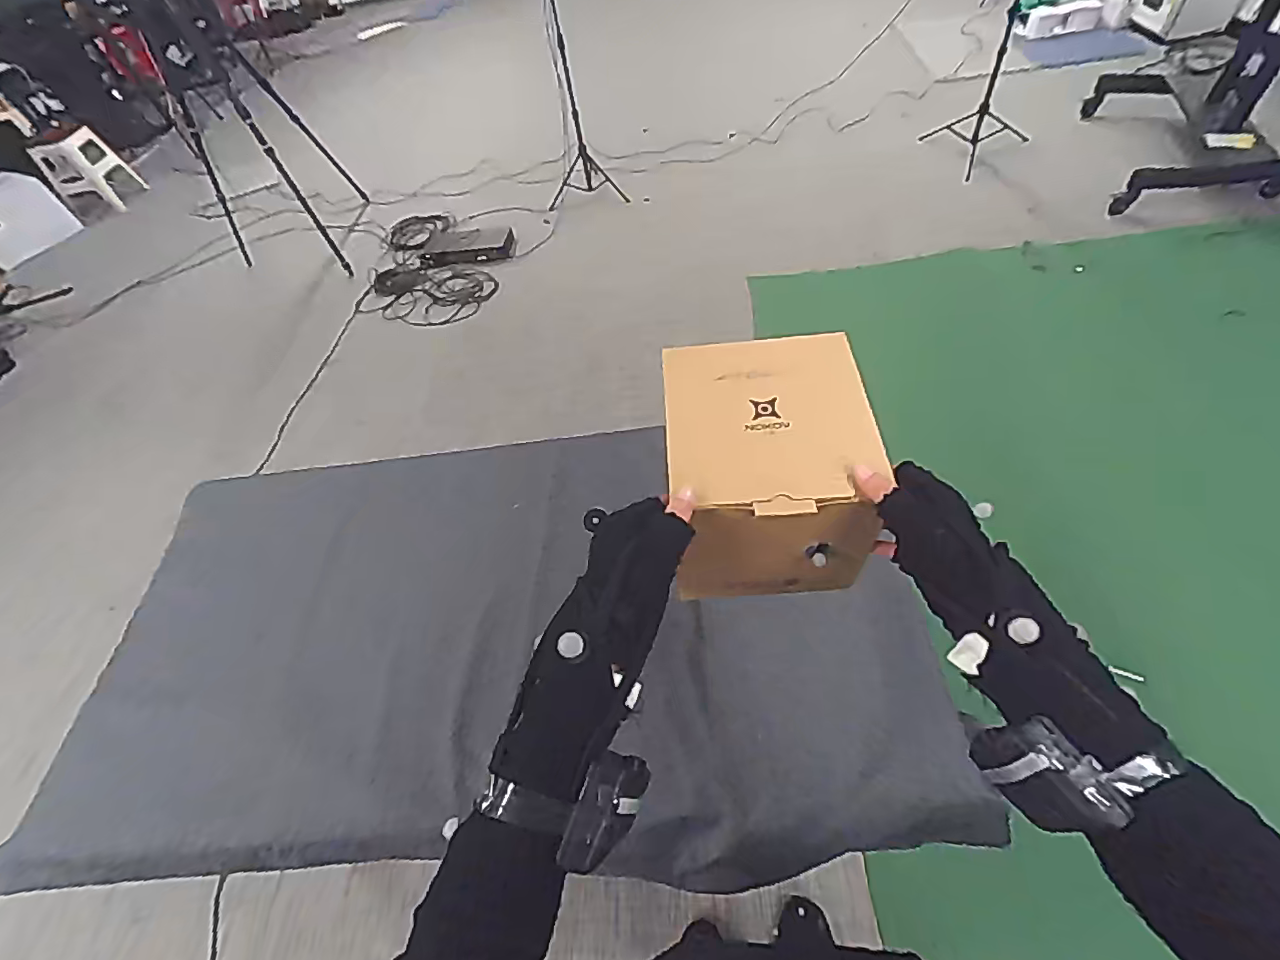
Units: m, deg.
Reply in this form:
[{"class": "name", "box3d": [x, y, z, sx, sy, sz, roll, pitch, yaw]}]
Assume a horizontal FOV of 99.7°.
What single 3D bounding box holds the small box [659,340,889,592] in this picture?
[{"class": "small box", "box3d": [0.107, -0.003, 0.505, 0.168, 0.176, 0.179, -3, 54, 4]}]
